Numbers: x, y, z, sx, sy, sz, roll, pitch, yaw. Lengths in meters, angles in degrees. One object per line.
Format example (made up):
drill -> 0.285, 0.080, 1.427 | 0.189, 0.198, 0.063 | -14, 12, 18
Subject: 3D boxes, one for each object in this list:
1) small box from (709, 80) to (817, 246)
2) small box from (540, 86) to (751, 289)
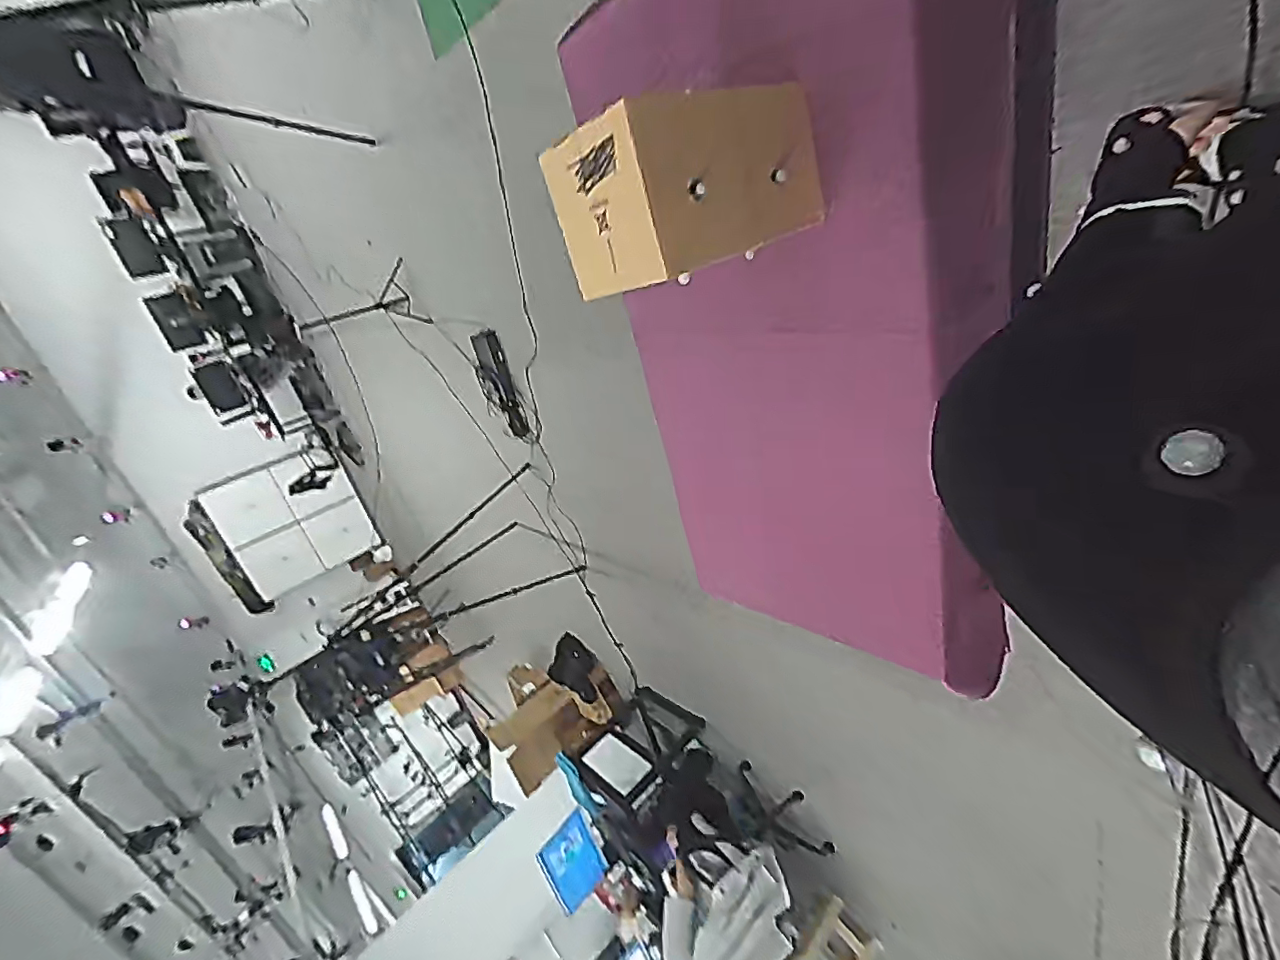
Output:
small box -> 0.126, -0.425, 0.757 | 0.168, 0.176, 0.179 | 8, 123, 49
small box -> 0.012, -0.352, 0.664 | 0.168, 0.176, 0.179 | 10, 124, 49
